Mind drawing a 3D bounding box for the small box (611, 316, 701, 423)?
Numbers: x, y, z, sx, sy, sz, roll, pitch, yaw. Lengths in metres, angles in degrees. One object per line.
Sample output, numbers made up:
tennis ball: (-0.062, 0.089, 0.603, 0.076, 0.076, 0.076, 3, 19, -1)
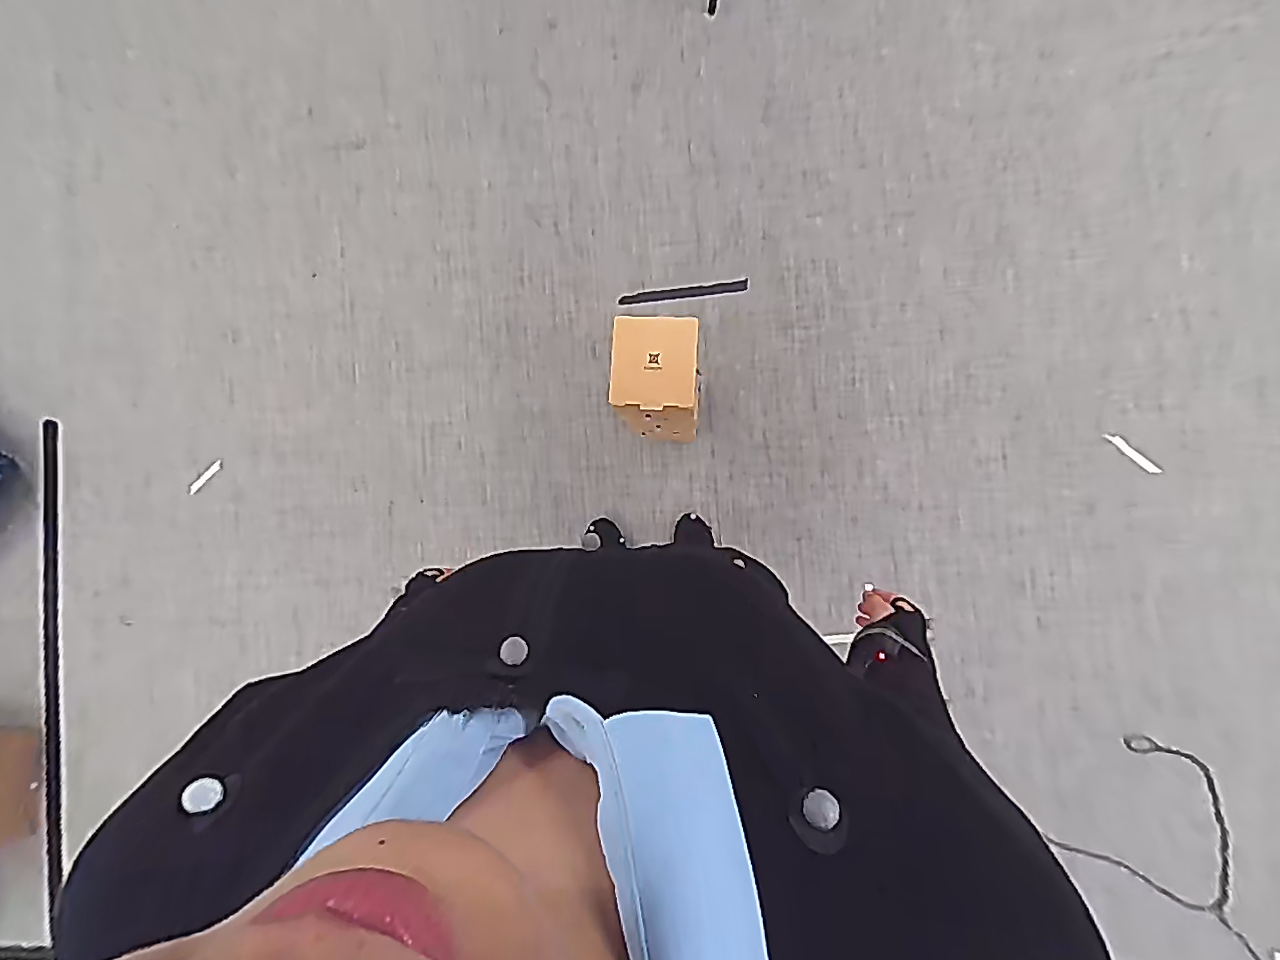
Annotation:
small box: (0.035, -0.220, 1.108, 0.168, 0.176, 0.179, 2, 87, 6)

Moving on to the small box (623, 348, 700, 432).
small box: (0.055, -0.209, 1.269, 0.168, 0.176, 0.179, 3, 87, 5)
